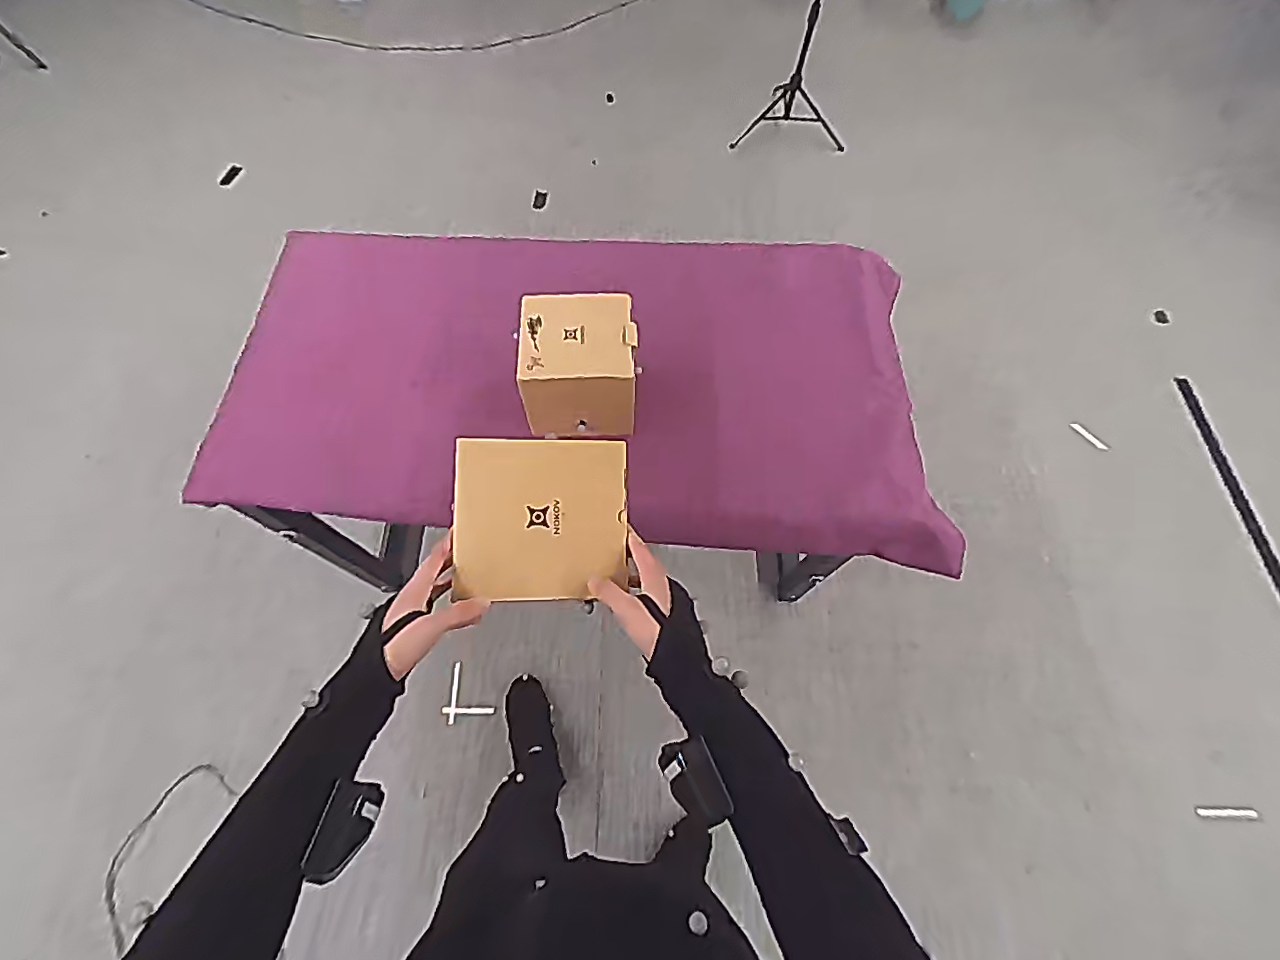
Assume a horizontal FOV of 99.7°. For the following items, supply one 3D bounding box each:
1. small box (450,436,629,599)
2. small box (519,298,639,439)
[{"bbox_3d":[-0.109,0.052,0.622,0.179,0.176,0.168,0,78,-9],"label":"small box"},{"bbox_3d":[-0.096,-0.179,0.898,0.179,0.176,0.168,-1,64,-3],"label":"small box"}]
